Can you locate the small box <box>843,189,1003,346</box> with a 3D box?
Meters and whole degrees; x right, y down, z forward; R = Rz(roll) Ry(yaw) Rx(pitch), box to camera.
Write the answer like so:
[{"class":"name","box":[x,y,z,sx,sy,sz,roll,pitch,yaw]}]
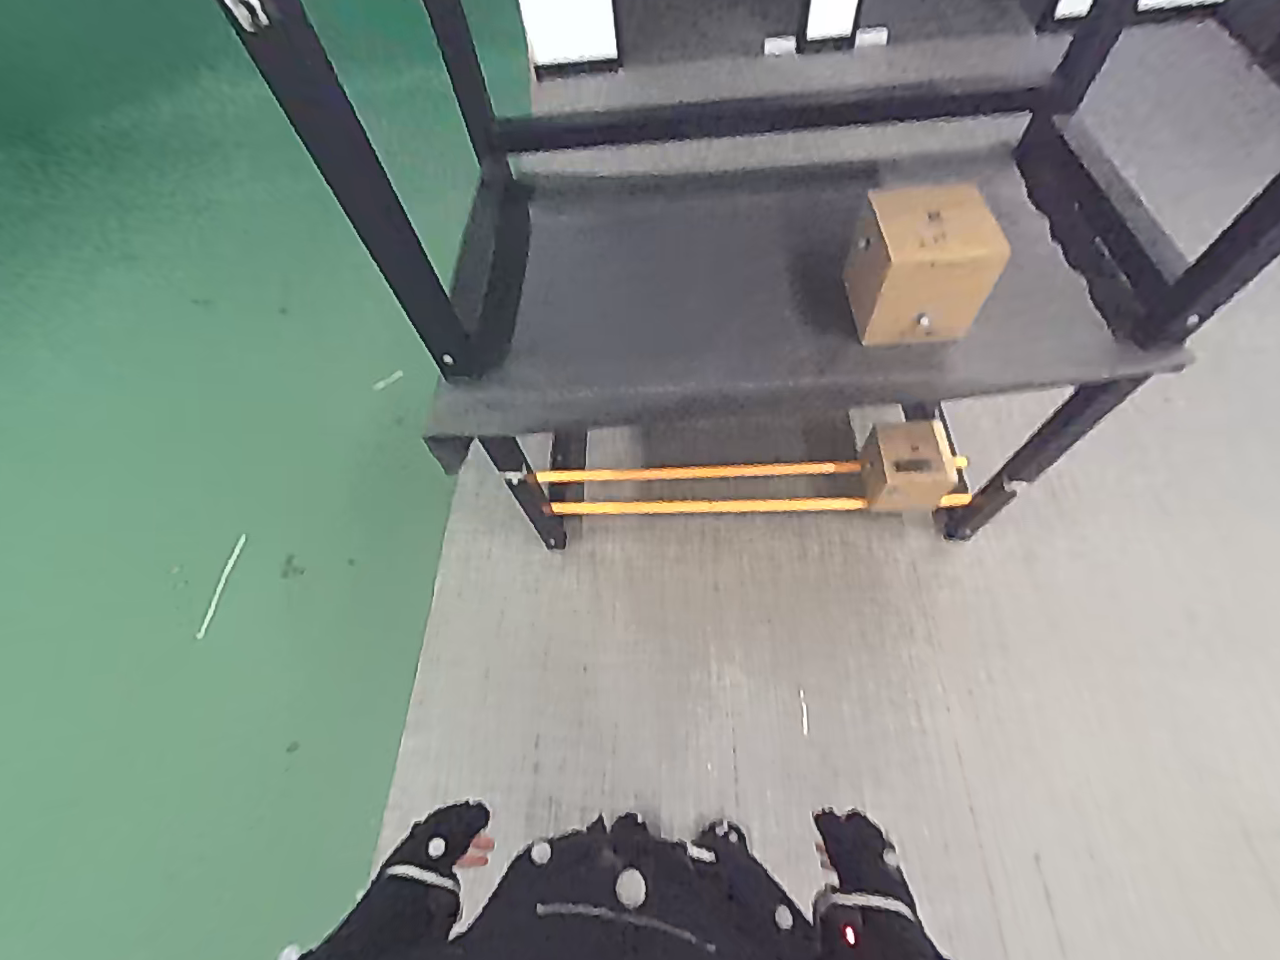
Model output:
[{"class":"small box","box":[0.446,-0.344,0.888,0.168,0.176,0.179,-3,58,5]}]
